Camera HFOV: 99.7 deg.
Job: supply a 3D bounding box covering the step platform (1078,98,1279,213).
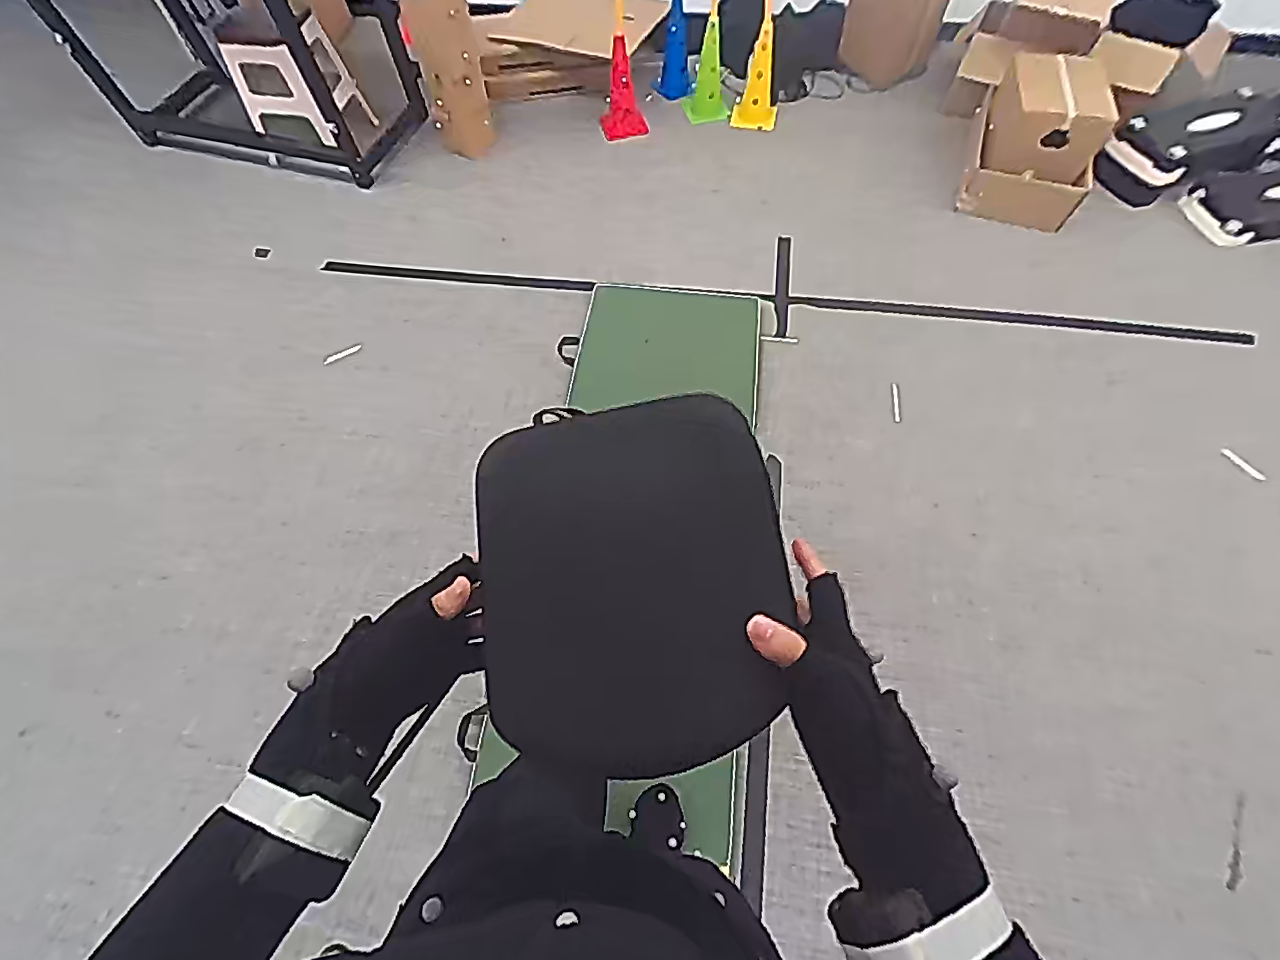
[{"bbox_3d":[2.200,-1.327,2.205,0.684,0.204,0.286,-20,64,-9],"label":"step platform"}]
